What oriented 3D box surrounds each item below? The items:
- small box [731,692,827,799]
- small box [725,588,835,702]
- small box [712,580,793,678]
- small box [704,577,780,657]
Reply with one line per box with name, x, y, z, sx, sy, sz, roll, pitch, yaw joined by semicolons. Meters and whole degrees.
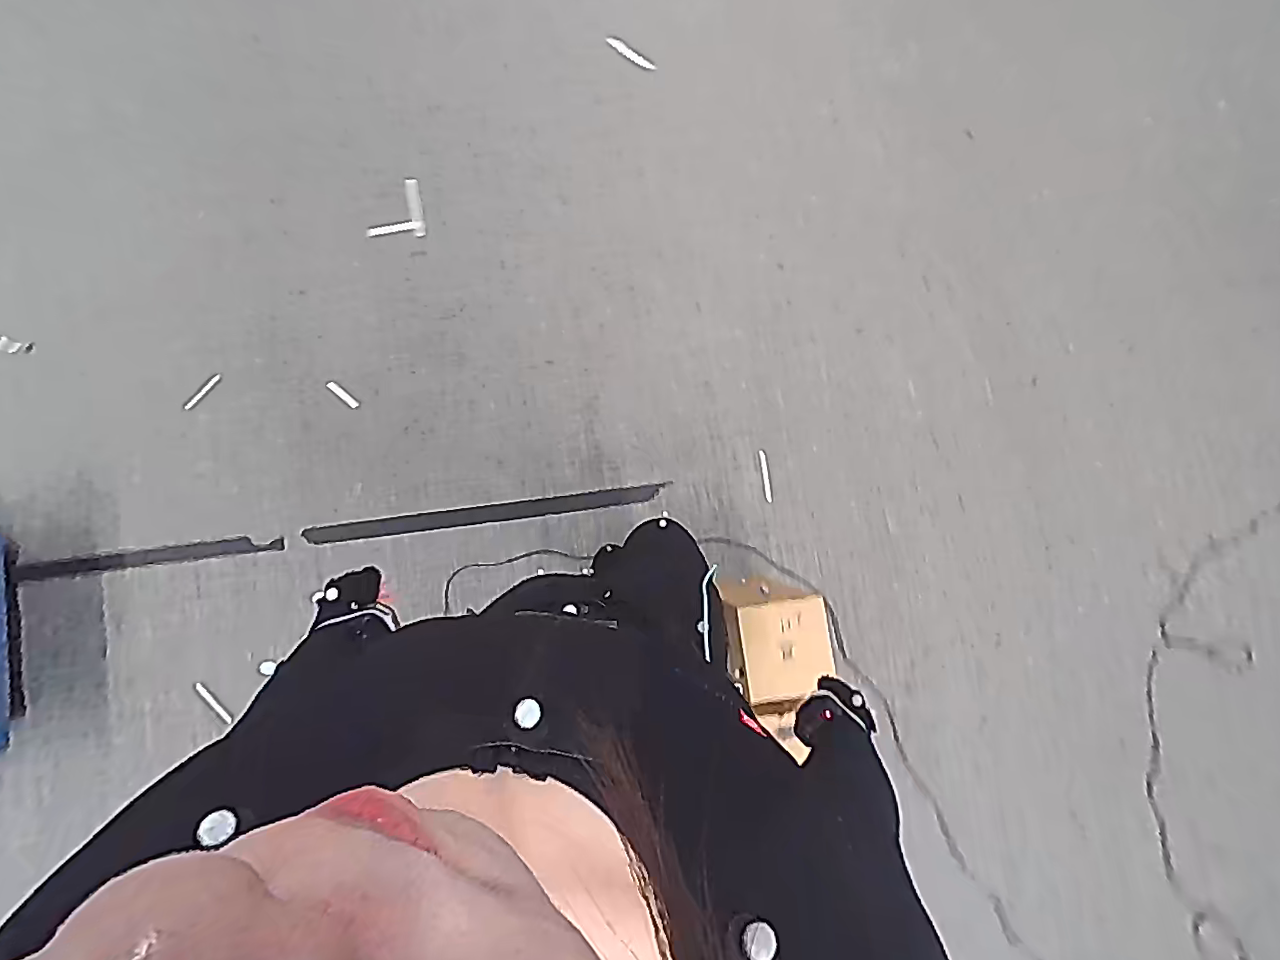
small box;0.308;0.588;1.232;0.168;0.176;0.179;-6;87;-1
small box;0.273;0.322;1.085;0.168;0.176;0.179;-7;84;-1
small box;0.268;0.337;1.250;0.168;0.176;0.179;-8;85;-1
small box;0.272;0.352;1.413;0.179;0.176;0.168;-7;85;0
